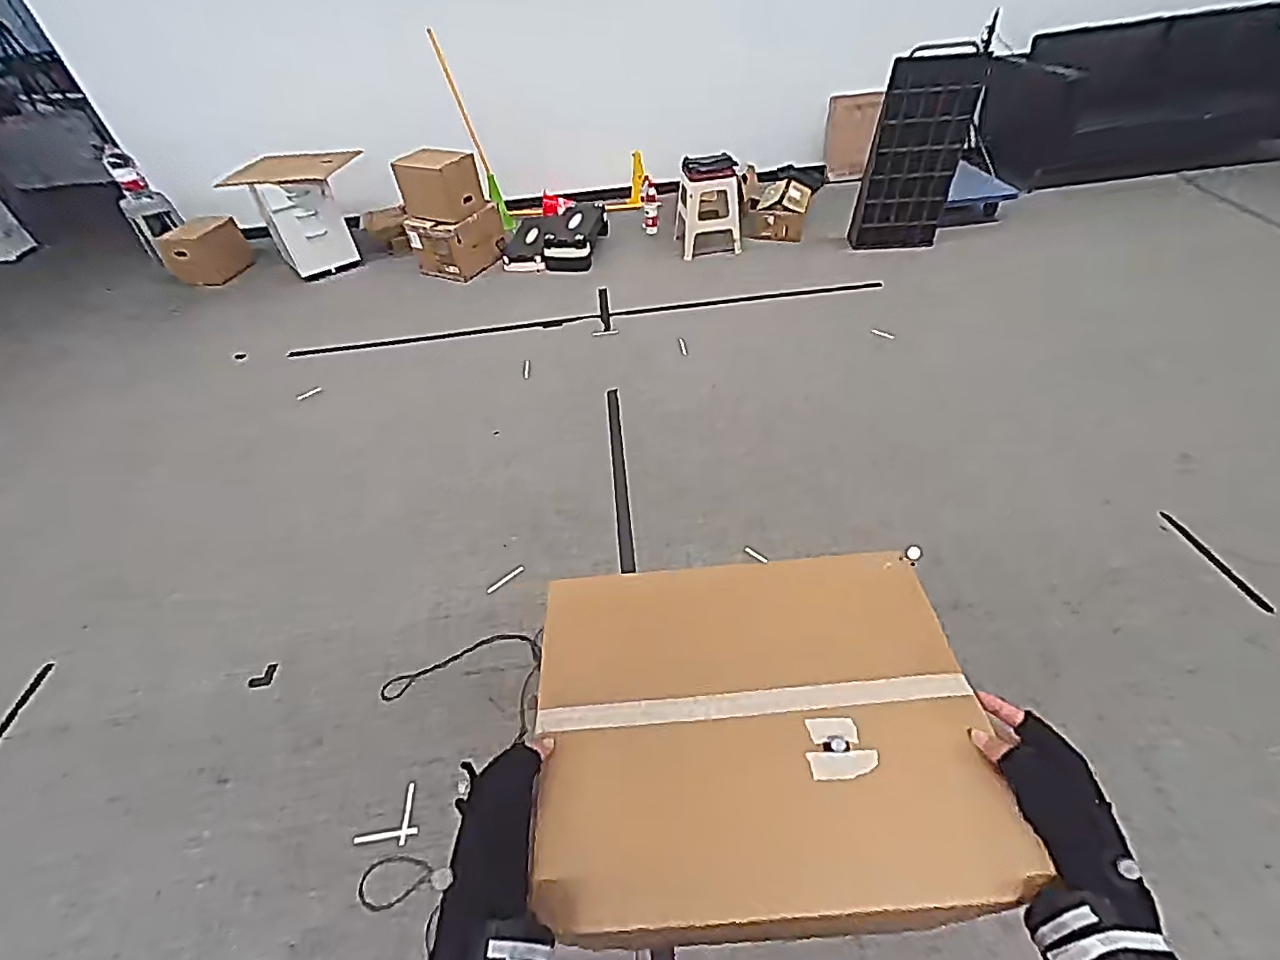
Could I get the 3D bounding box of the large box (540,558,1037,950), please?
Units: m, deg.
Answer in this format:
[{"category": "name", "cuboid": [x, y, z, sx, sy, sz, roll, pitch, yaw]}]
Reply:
[{"category": "large box", "cuboid": [0.117, 0.322, 0.632, 0.408, 0.320, 0.320, -5, 48, 1]}]
